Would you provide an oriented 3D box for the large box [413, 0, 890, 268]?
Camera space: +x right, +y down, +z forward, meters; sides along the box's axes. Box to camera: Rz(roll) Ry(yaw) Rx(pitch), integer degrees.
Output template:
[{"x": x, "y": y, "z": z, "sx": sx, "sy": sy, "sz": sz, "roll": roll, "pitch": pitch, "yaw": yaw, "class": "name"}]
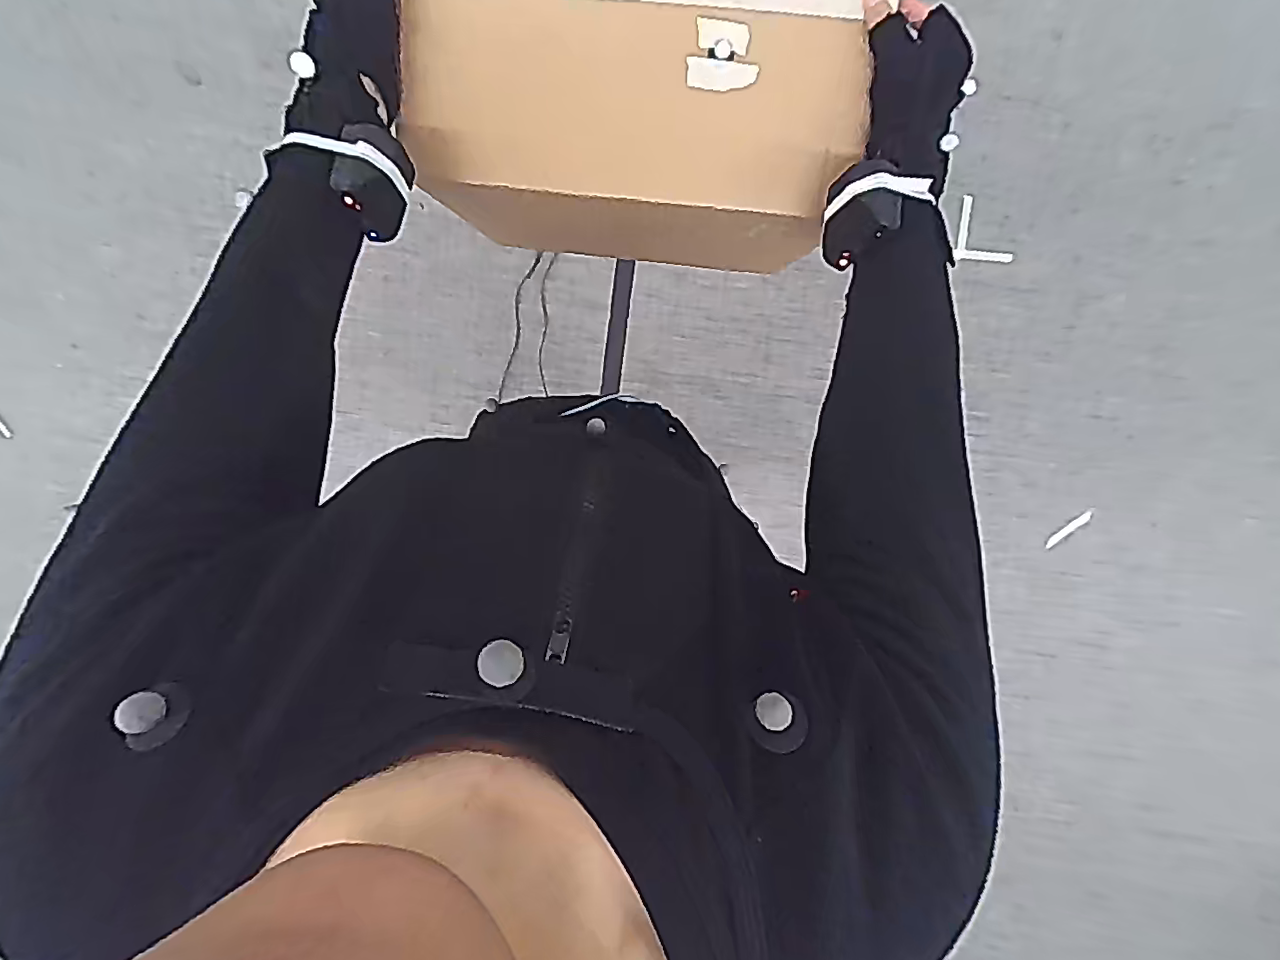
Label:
[{"x": 0.008, "y": -0.433, "z": 0.594, "sx": 0.408, "sy": 0.320, "sz": 0.320, "roll": 5, "pitch": 103, "yaw": -1, "class": "large box"}]
